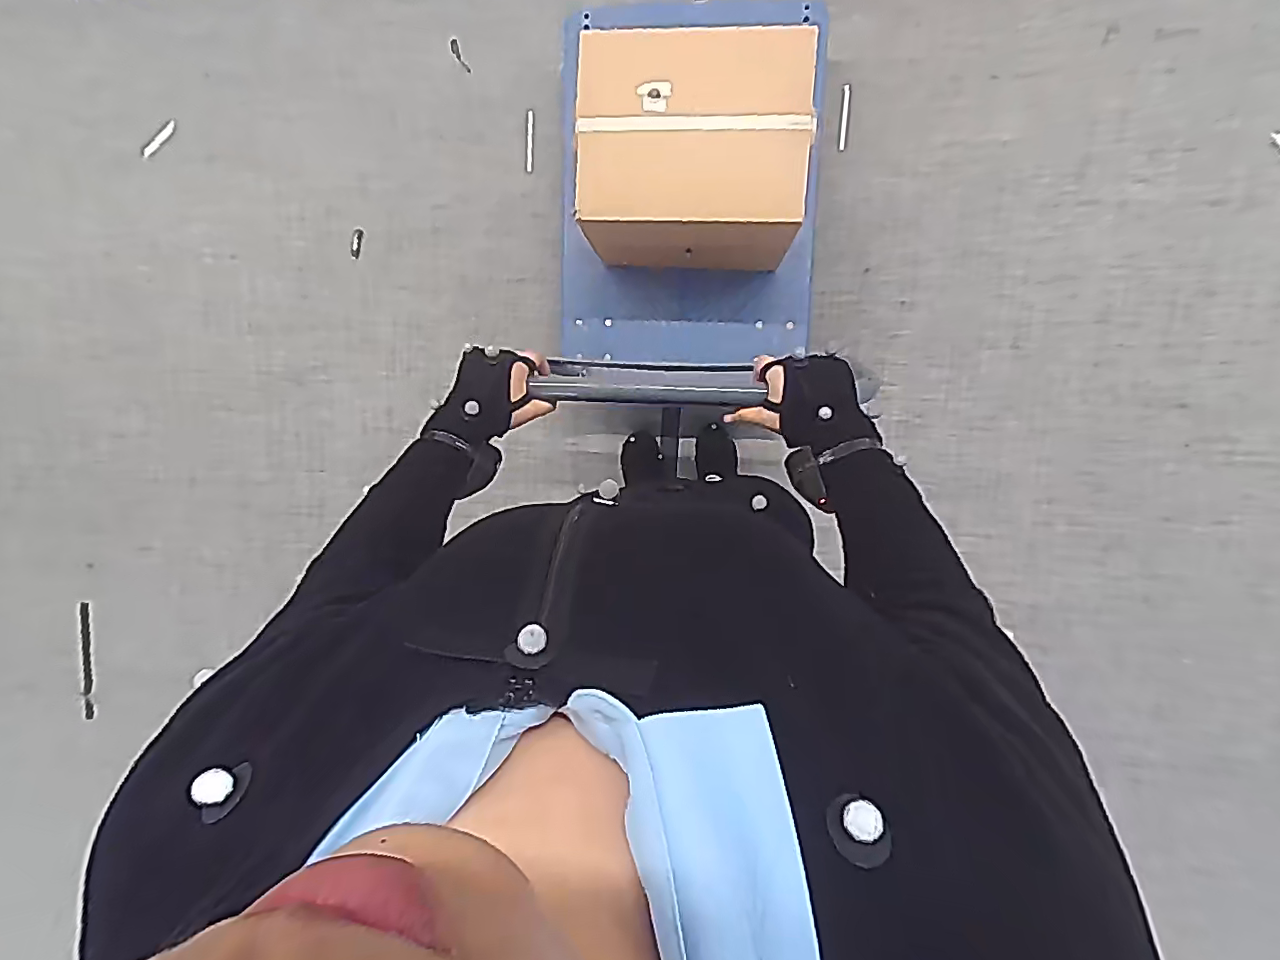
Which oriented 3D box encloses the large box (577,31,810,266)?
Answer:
[{"bbox_3d":[0.106,-0.629,1.095,0.408,0.320,0.320,3,96,6],"label":"large box"}]
